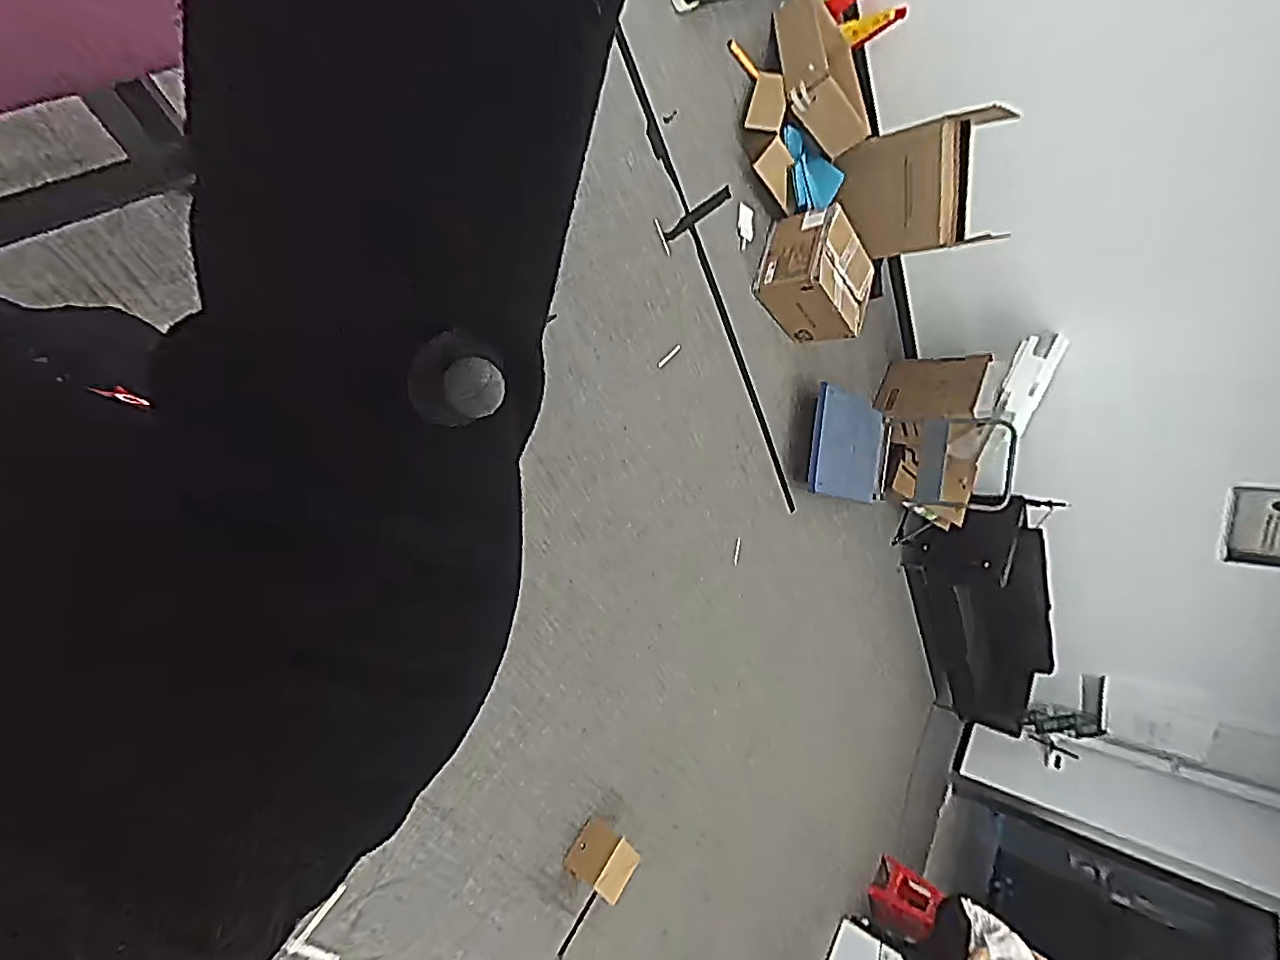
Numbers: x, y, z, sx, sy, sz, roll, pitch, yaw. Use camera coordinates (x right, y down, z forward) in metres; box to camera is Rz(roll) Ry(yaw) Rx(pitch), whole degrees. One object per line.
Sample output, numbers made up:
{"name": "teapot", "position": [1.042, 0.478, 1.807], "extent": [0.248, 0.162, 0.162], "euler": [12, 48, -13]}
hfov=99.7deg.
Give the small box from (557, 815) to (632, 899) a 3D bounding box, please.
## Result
{"name": "small box", "position": [-0.160, 1.368, 1.952], "extent": [0.179, 0.176, 0.168], "euler": [-48, 126, -32]}
